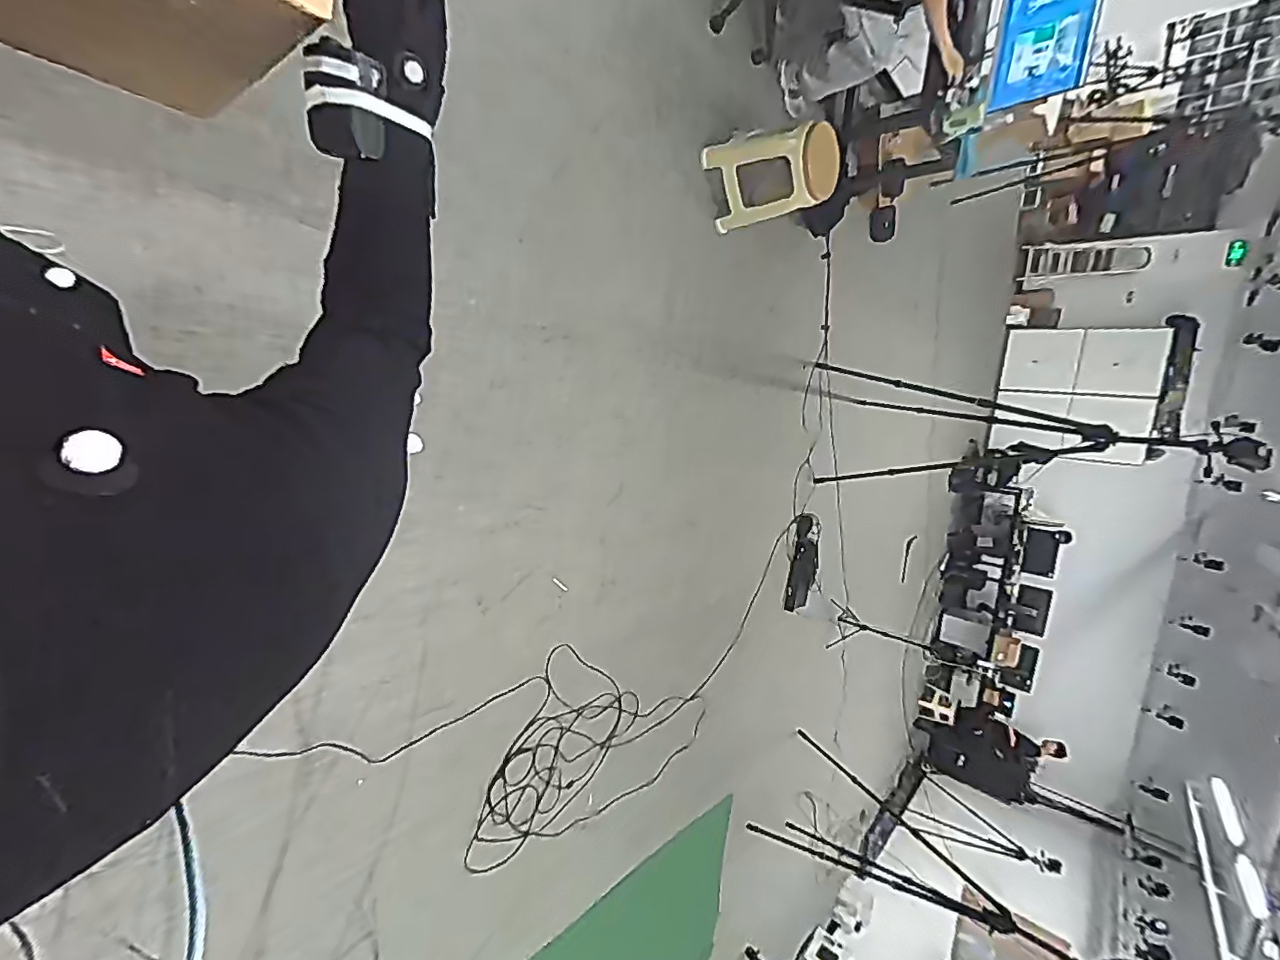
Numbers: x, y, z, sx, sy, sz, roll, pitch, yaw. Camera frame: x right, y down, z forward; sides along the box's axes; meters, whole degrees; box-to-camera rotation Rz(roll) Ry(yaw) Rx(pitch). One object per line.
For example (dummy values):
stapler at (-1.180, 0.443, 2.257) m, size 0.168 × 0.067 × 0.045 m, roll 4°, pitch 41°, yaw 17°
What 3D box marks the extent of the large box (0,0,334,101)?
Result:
large box at (-0.422, -0.482, 0.274) m, size 0.408 × 0.320 × 0.320 m, roll -4°, pitch 106°, yaw -50°
